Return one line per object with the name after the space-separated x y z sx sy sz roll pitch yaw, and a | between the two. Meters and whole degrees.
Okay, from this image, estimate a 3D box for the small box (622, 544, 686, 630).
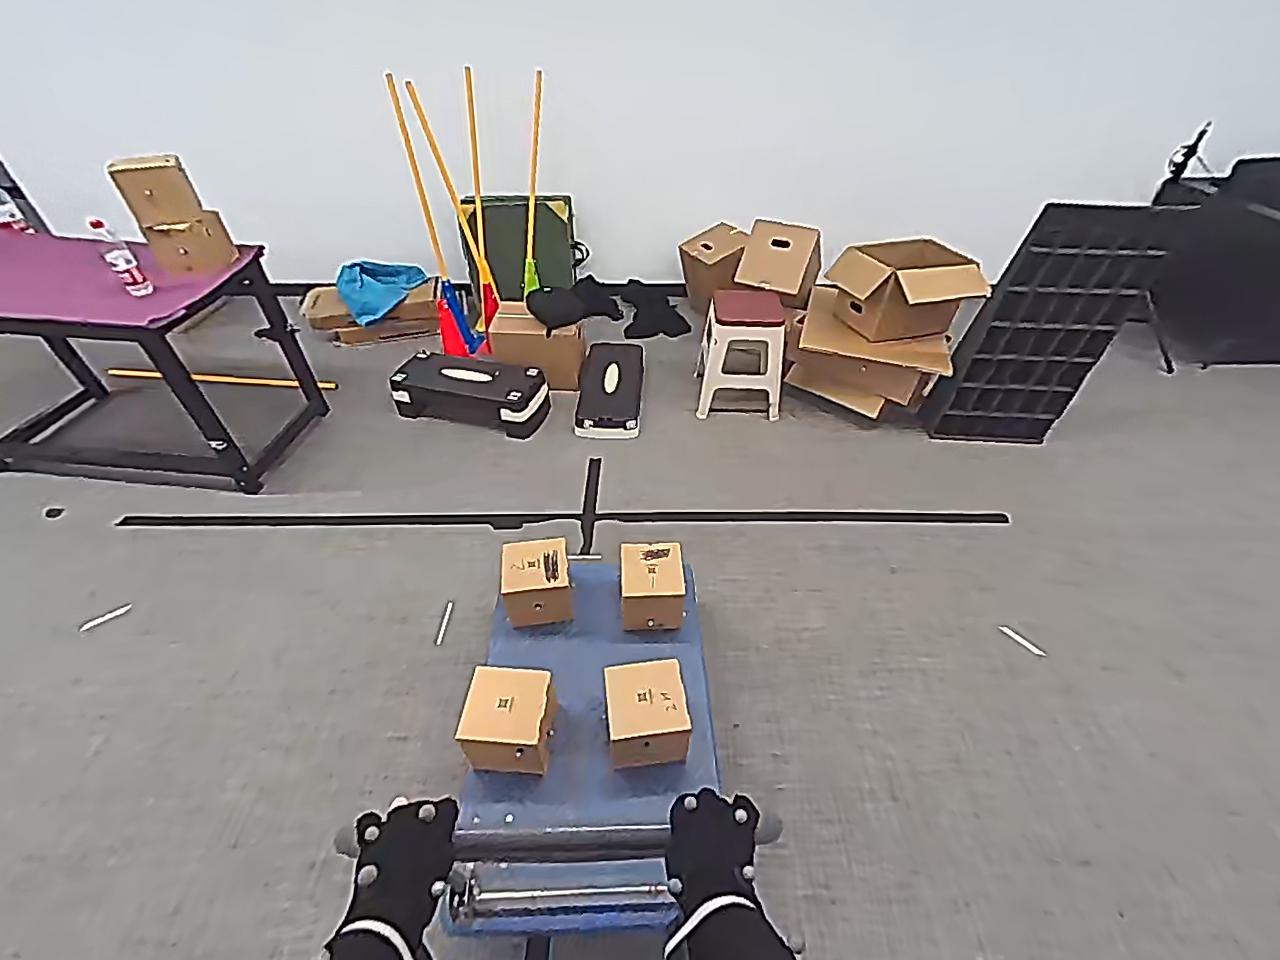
0.034 0.296 1.507 0.168 0.176 0.179 -1 45 -2 | small box

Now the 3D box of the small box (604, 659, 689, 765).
0.012 0.539 1.250 0.179 0.176 0.168 -4 44 -5 | small box

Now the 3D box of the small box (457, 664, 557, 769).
-0.295 0.544 1.240 0.179 0.176 0.168 4 43 2 | small box
